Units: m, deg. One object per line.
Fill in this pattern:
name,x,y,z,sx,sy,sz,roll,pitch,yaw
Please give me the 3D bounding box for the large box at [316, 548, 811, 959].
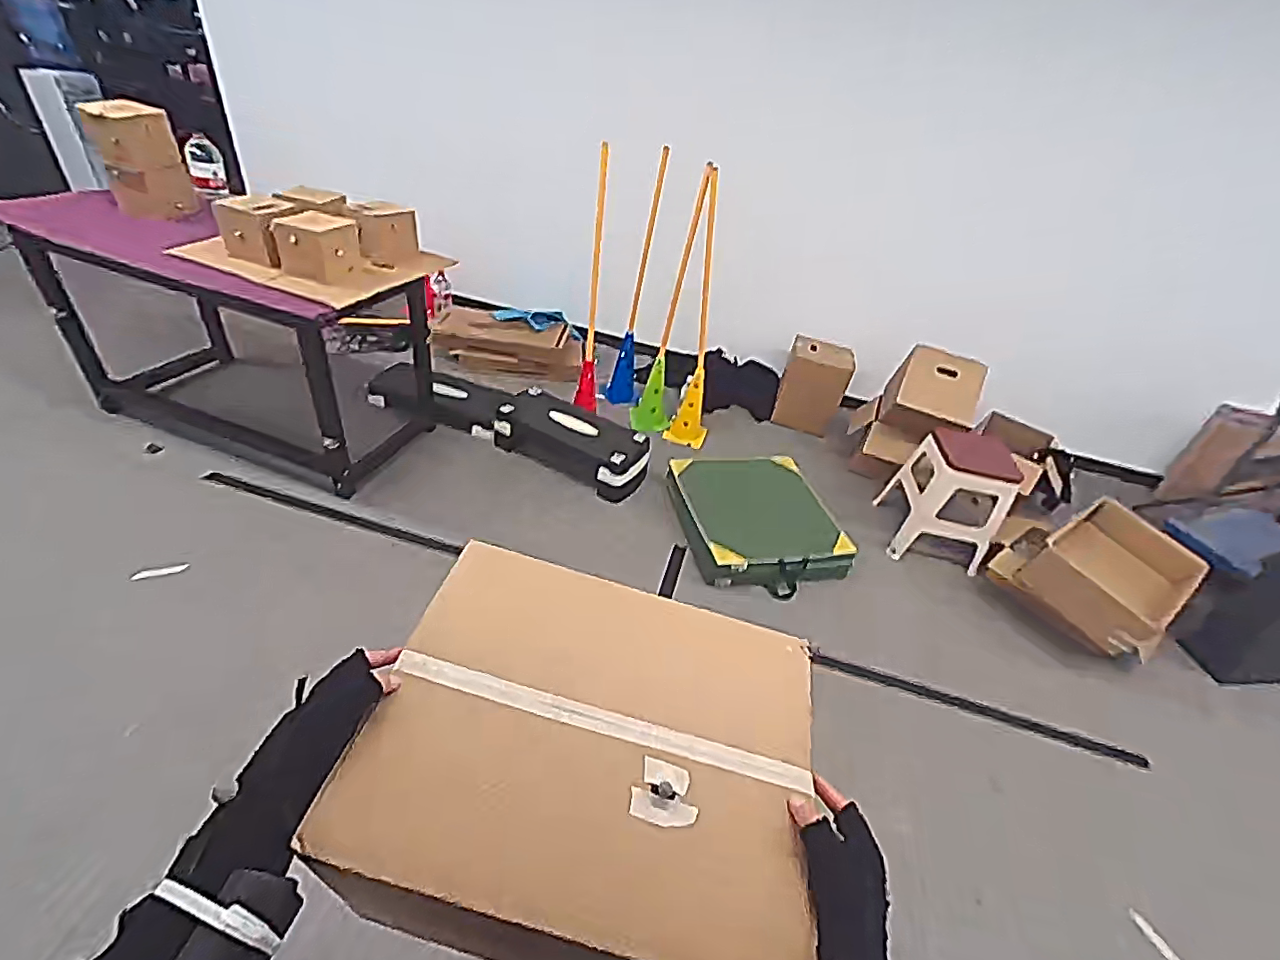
large box,-0.063,0.335,0.619,0.408,0.320,0.320,17,44,1
